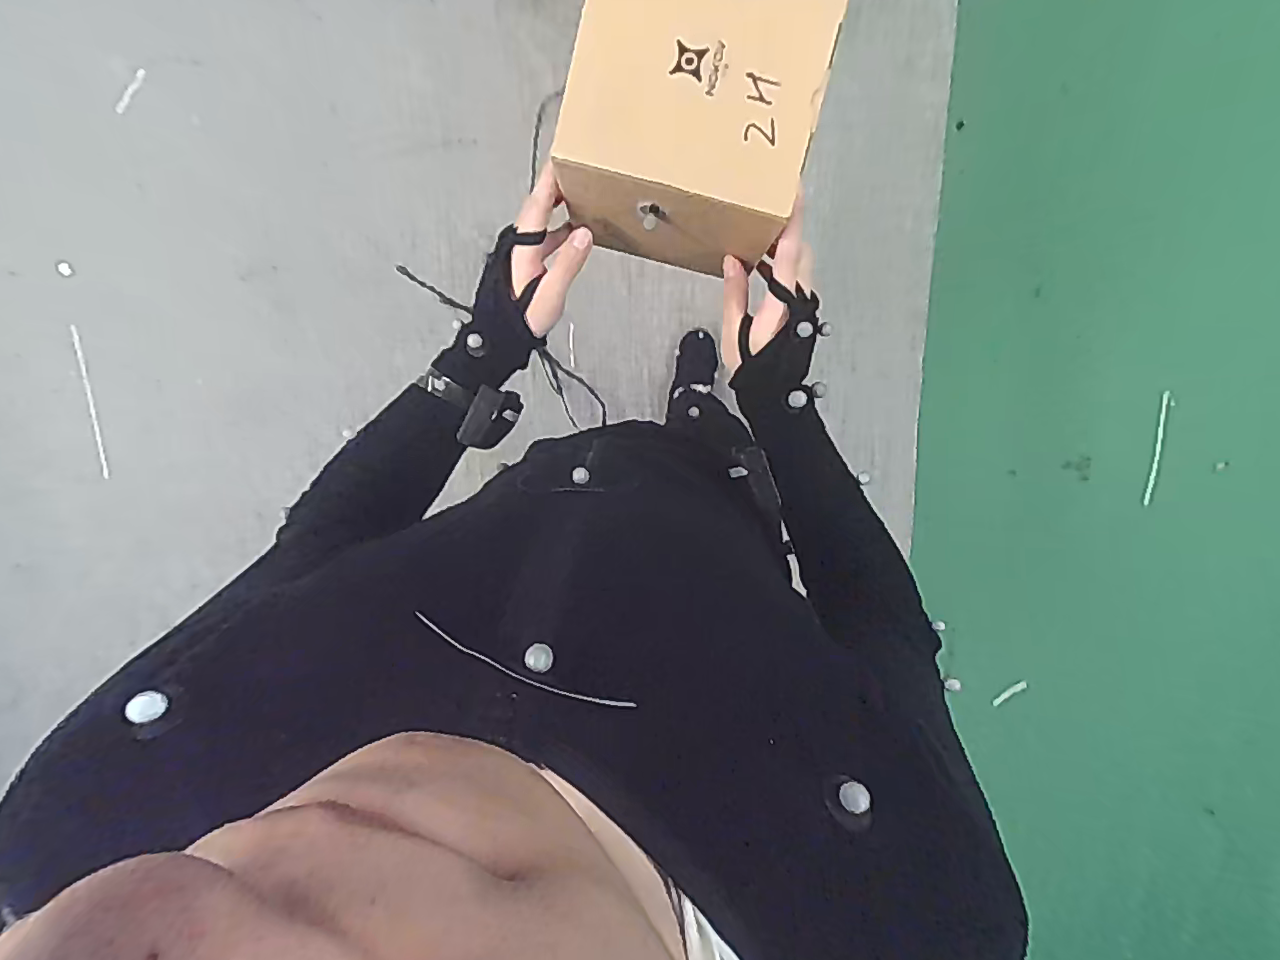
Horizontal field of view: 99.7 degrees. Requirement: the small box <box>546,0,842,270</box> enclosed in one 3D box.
[{"bbox_3d":[0.039,-0.294,0.449,0.179,0.176,0.168,14,96,-1],"label":"small box"}]
